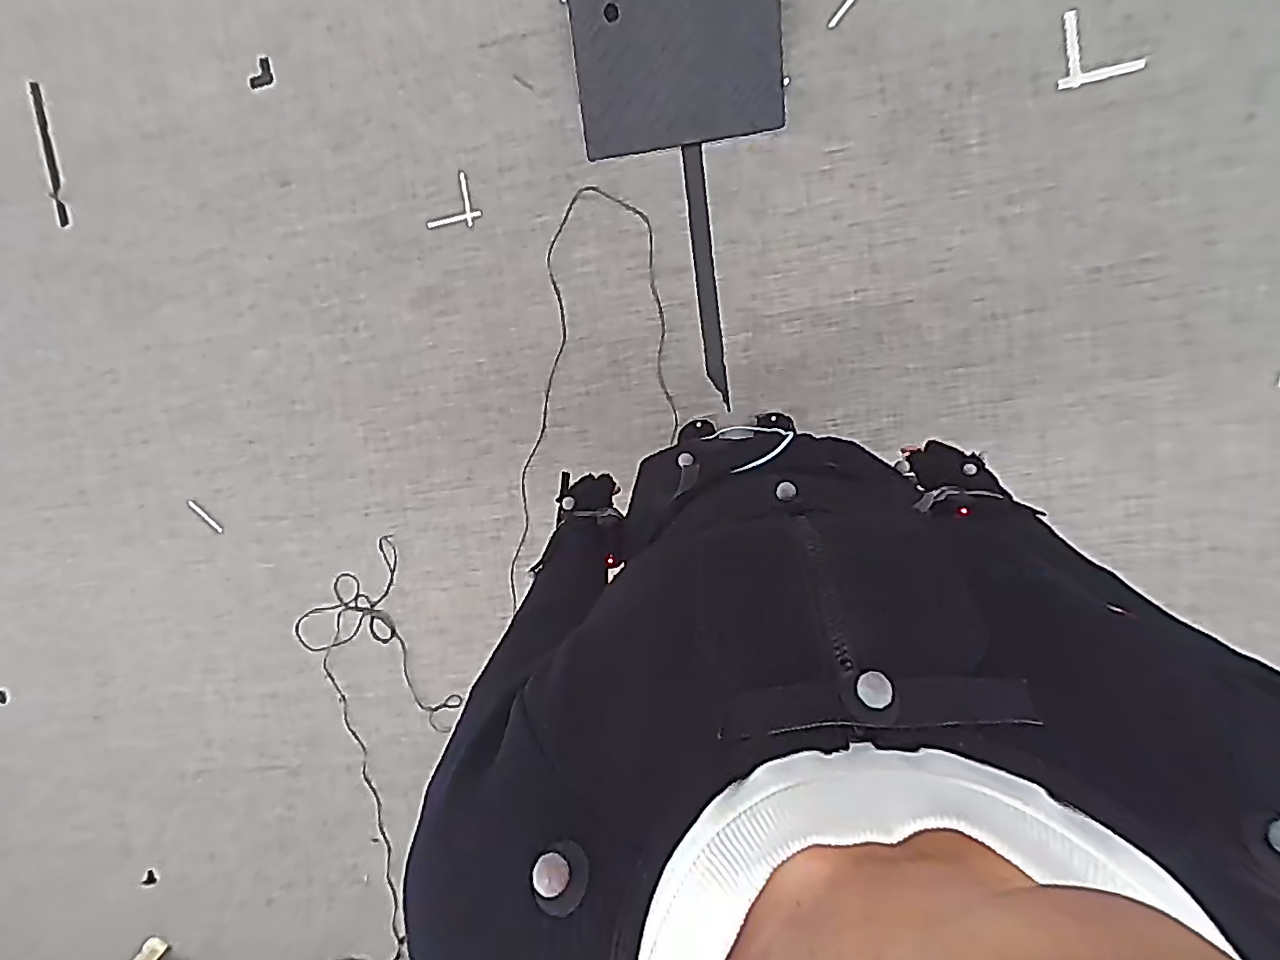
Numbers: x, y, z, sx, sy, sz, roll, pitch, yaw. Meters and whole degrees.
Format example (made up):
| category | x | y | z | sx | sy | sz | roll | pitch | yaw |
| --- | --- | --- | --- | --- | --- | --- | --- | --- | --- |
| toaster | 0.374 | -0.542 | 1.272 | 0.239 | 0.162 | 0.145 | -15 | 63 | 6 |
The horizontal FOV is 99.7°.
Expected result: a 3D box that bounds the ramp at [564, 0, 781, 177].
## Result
| category | x | y | z | sx | sy | sz | roll | pitch | yaw |
| --- | --- | --- | --- | --- | --- | --- | --- | --- | --- |
| ramp | 0.042 | -1.287 | 1.240 | 0.509 | 0.206 | 0.991 | -8 | 96 | 8 |
